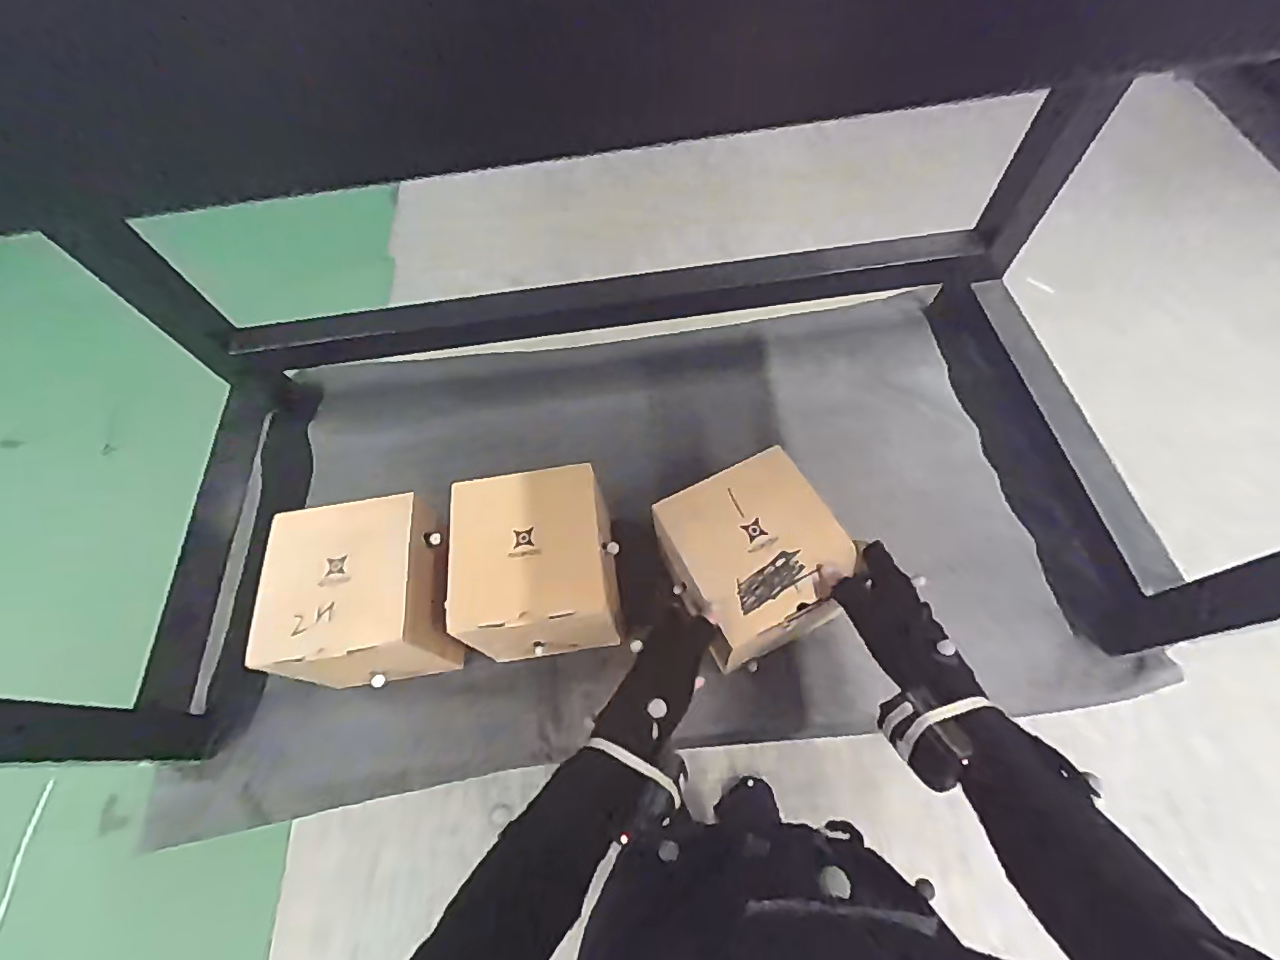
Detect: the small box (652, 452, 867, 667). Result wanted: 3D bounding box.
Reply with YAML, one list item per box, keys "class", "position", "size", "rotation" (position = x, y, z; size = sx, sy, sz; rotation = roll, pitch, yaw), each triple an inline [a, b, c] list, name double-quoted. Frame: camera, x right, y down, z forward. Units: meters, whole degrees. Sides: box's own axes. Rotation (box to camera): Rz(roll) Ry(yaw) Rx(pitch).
- class: "small box"
  position: [0.129, 0.104, 0.639]
  size: [0.168, 0.176, 0.179]
  rotation: [-25, 61, -7]

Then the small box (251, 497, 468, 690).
- class: "small box"
  position: [-0.320, 0.143, 0.659]
  size: [0.168, 0.176, 0.179]
  rotation: [-9, 61, 0]
